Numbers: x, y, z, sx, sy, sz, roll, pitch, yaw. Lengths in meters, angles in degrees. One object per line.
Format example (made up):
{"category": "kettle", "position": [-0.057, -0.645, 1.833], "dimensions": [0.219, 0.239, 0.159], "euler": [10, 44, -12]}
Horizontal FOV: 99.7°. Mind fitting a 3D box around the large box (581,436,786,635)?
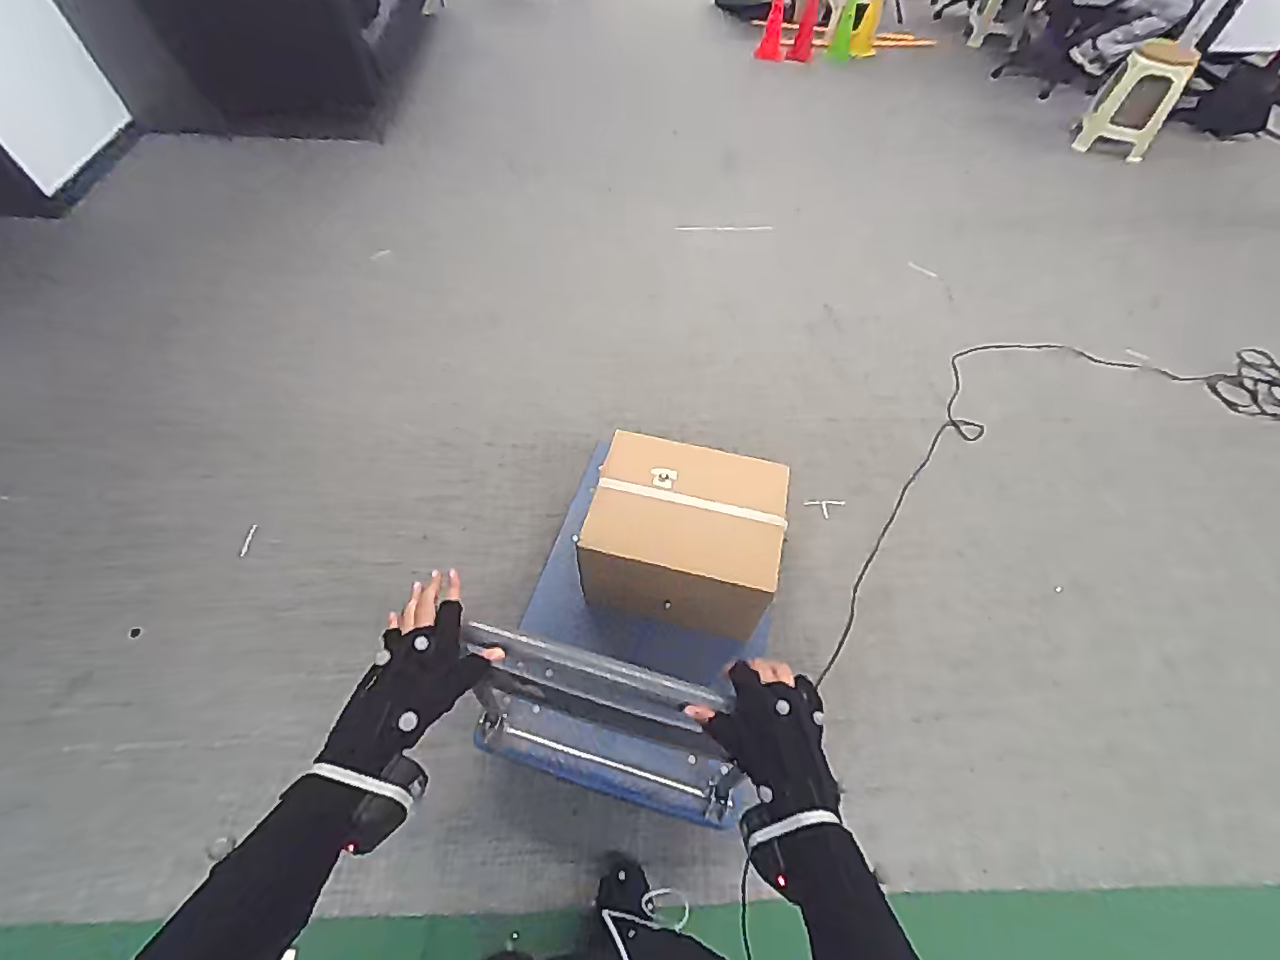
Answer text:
{"category": "large box", "position": [0.104, 0.137, 1.275], "dimensions": [0.408, 0.320, 0.320], "euler": [11, 56, 7]}
